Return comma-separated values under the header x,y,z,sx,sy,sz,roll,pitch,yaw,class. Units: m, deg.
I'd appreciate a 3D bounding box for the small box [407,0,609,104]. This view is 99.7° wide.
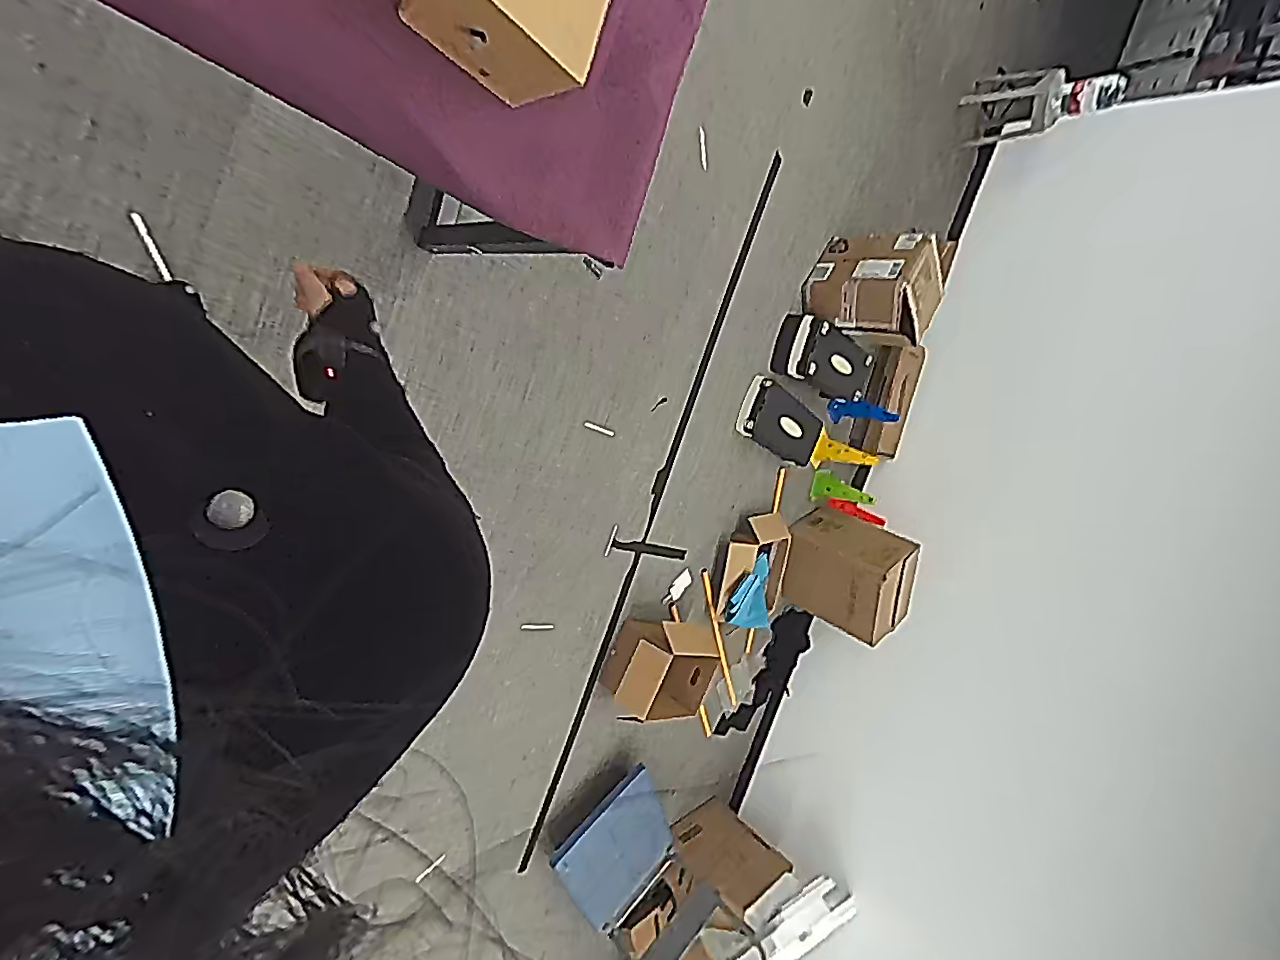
x,y,z,sx,sy,sz,roll,pitch,yaw,class
-0.153,-0.591,0.643,0.168,0.176,0.179,14,96,-48,small box
